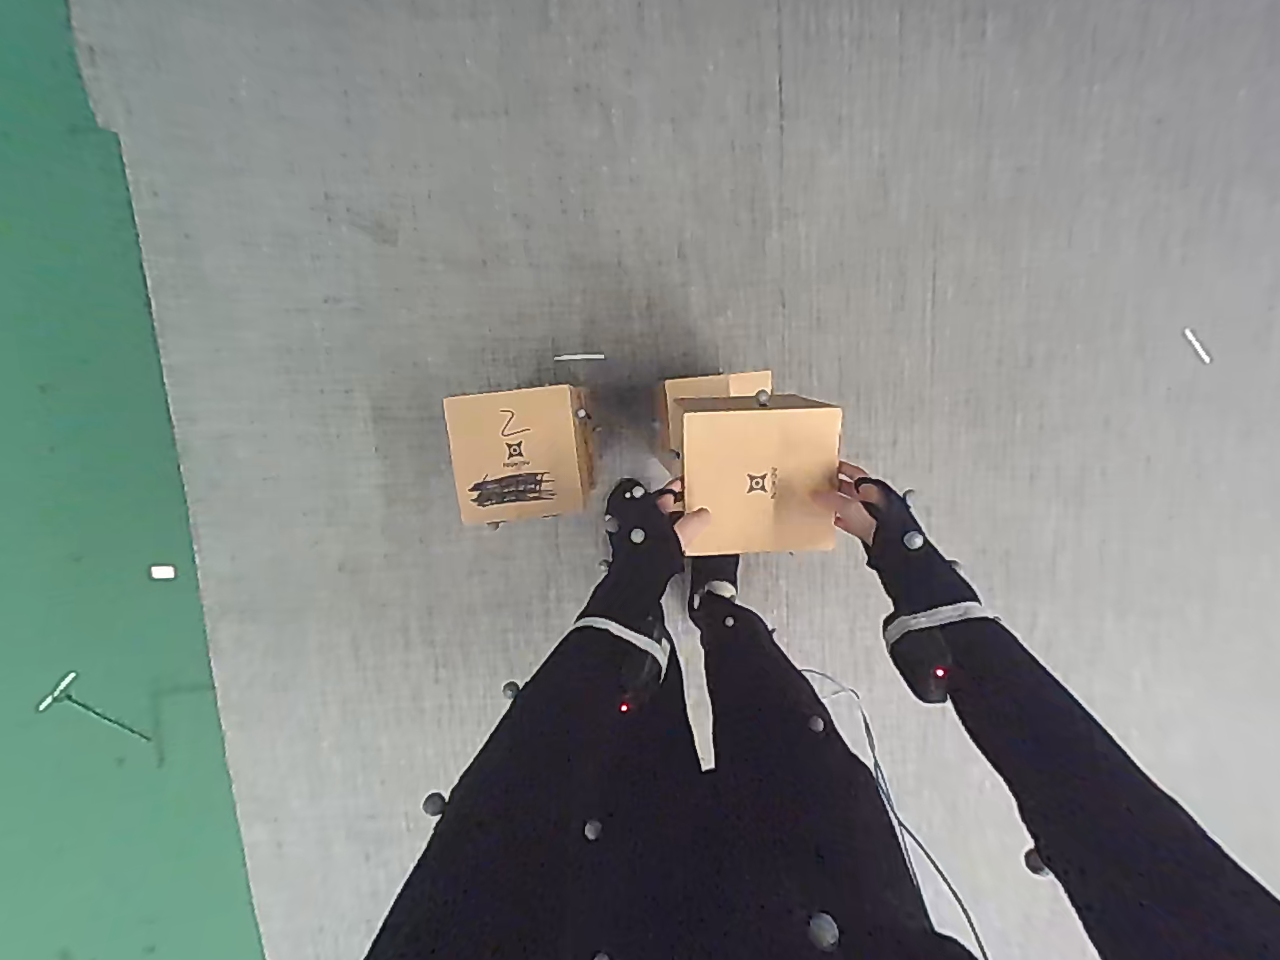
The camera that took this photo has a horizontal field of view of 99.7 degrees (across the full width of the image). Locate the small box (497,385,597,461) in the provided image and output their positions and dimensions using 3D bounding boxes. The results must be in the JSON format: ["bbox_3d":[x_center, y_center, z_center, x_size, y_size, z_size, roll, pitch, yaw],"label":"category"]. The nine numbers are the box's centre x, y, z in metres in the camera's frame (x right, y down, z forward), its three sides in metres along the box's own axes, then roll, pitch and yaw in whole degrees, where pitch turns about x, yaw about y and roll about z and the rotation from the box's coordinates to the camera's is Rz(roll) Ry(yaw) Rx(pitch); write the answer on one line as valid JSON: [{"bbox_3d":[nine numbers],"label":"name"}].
[{"bbox_3d":[-0.186,-0.108,1.131,0.179,0.176,0.168,-8,99,-1],"label":"small box"}]

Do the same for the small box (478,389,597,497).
[{"bbox_3d":[-0.173,-0.074,0.971,0.179,0.176,0.168,-7,99,0],"label":"small box"}]

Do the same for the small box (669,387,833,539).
[{"bbox_3d":[0.129,-0.030,0.695,0.179,0.176,0.168,-3,103,-2],"label":"small box"}]
